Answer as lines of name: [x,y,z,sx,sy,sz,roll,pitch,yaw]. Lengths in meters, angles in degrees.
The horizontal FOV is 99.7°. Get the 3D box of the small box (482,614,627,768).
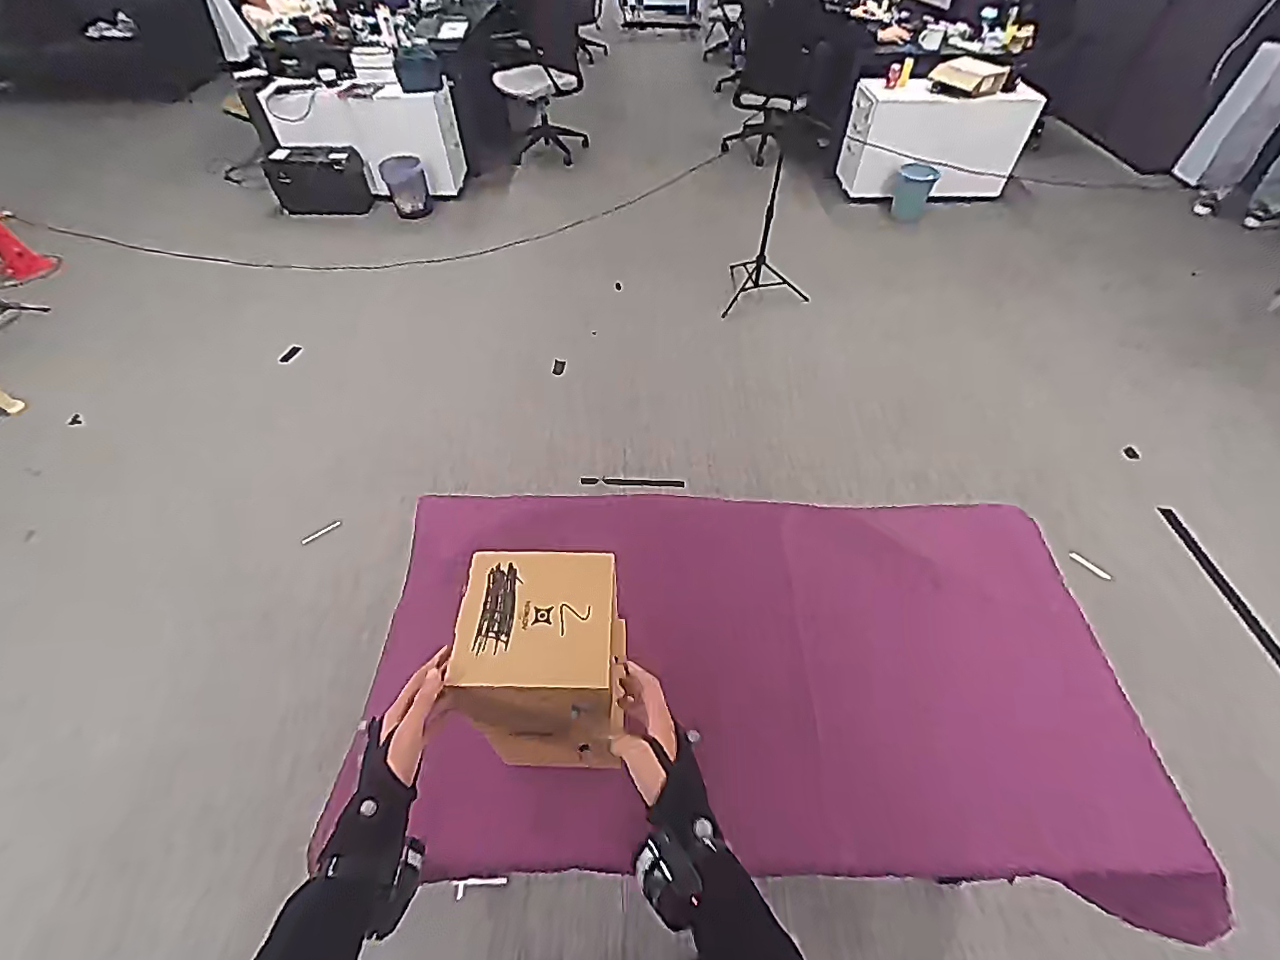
small box: [-0.112,0.313,0.792,0.179,0.176,0.168,2,50,1]
